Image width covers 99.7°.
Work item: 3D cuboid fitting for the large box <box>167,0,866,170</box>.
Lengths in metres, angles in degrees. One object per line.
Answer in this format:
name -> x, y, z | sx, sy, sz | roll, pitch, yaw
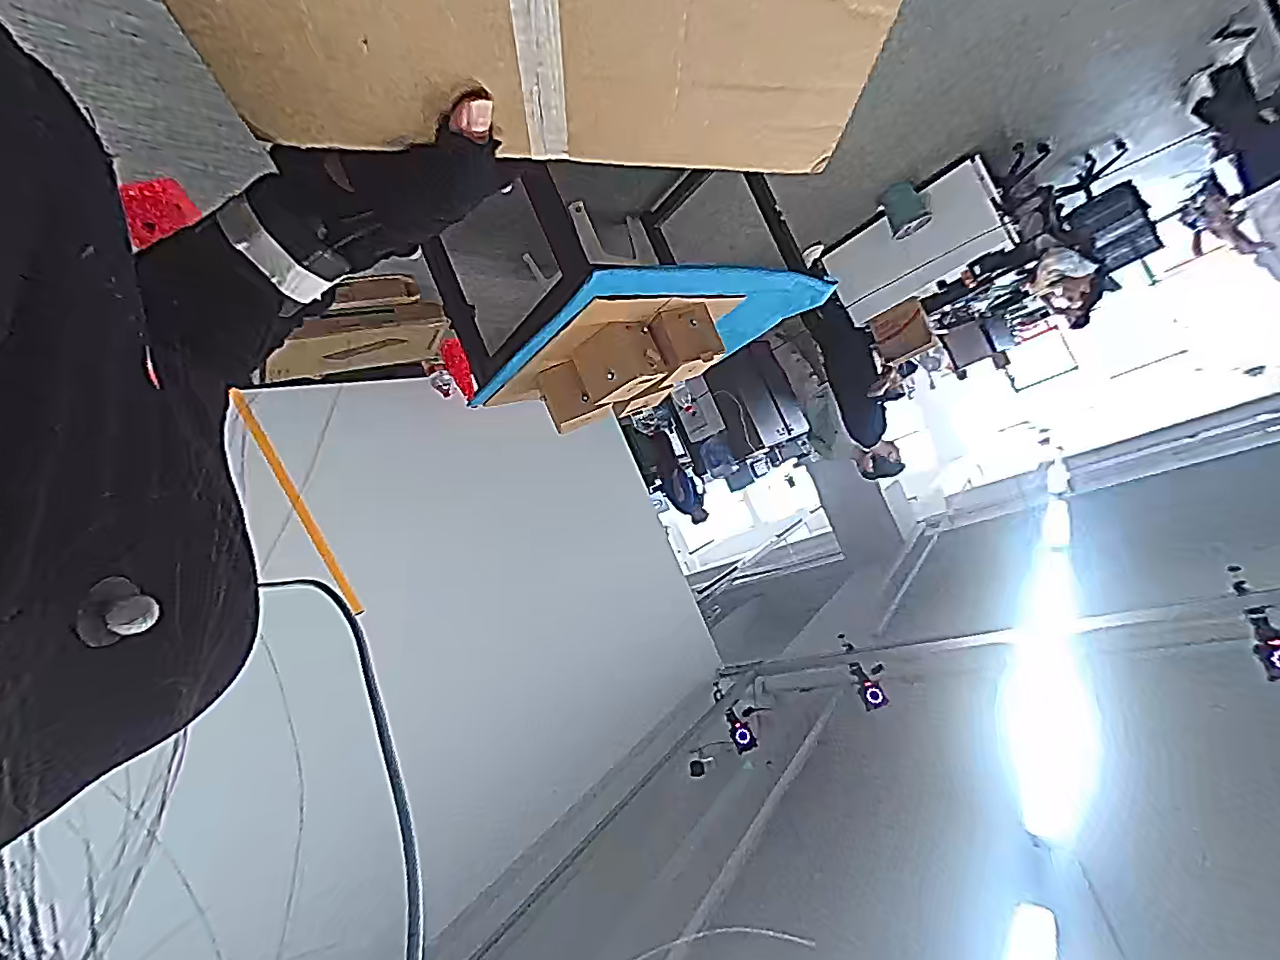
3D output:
large box -> -0.048, -0.388, 0.167 | 0.320, 0.320, 0.408 | 2, 162, -3
